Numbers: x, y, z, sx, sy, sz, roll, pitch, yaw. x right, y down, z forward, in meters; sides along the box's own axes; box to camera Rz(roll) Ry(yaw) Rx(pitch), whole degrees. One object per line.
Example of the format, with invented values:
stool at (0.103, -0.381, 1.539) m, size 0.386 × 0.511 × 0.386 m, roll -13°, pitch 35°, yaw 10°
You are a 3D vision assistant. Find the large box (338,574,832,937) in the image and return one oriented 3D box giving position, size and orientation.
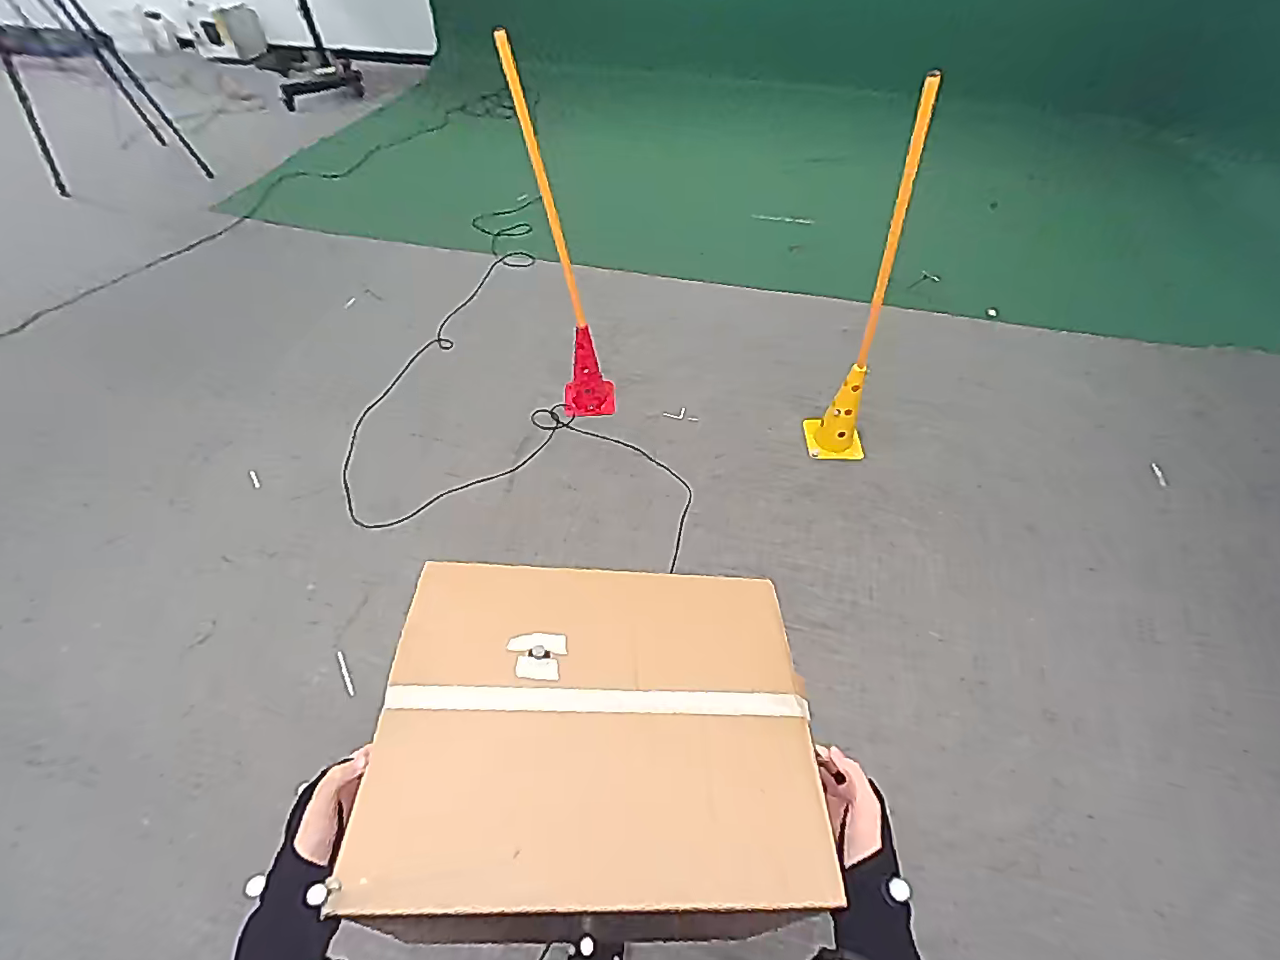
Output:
large box at (-0.053, 0.329, 0.639) m, size 0.408 × 0.320 × 0.320 m, roll 4°, pitch 46°, yaw -5°
